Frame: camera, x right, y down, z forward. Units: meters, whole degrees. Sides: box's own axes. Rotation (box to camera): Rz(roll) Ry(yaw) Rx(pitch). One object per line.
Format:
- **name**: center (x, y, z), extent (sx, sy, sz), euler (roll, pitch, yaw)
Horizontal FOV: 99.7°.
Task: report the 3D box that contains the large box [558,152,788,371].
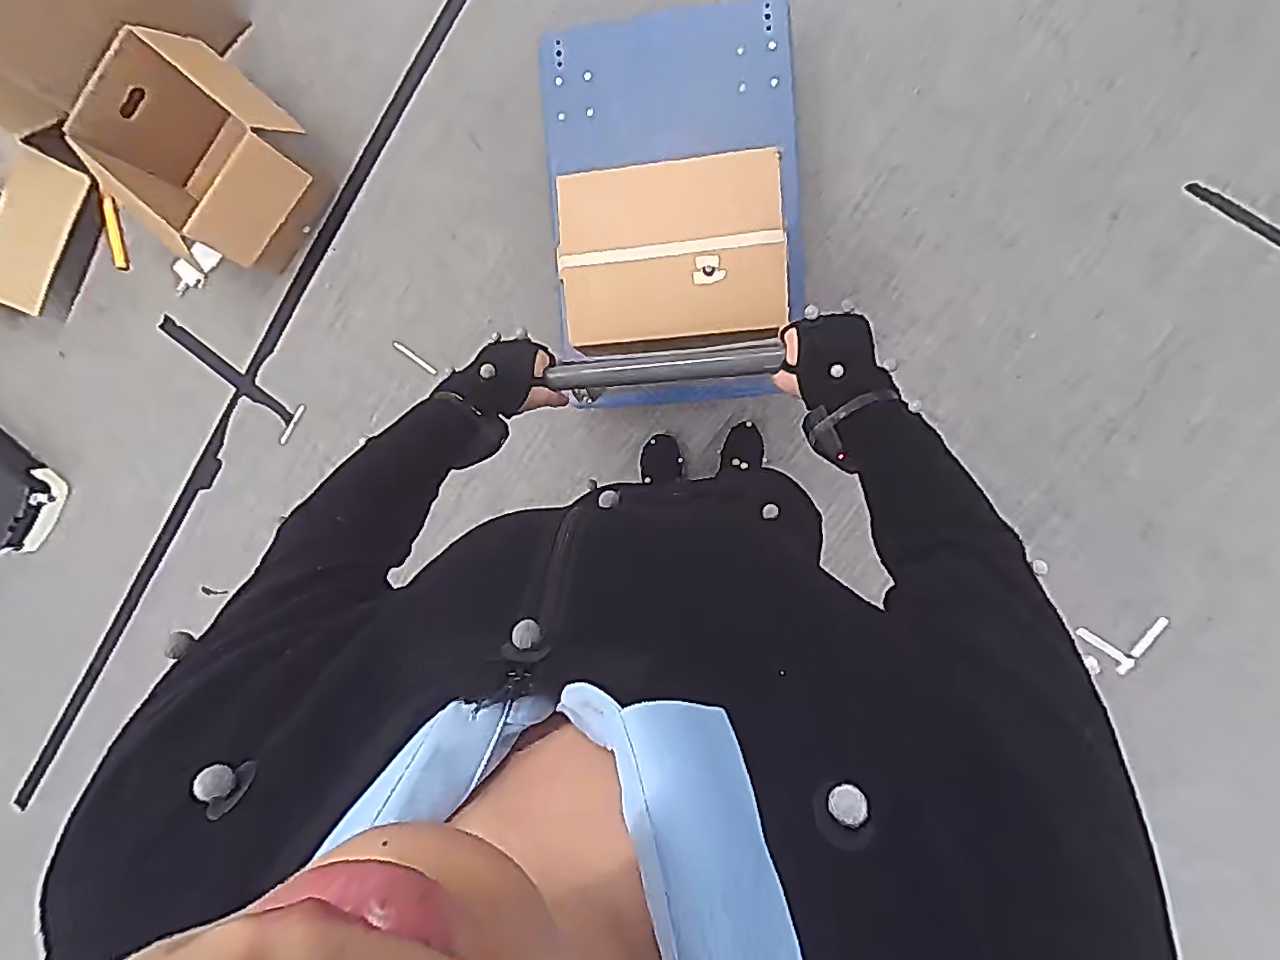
- **large box**: center (0.071, -0.421, 1.129), extent (0.408, 0.320, 0.320), euler (-4, 94, 6)
